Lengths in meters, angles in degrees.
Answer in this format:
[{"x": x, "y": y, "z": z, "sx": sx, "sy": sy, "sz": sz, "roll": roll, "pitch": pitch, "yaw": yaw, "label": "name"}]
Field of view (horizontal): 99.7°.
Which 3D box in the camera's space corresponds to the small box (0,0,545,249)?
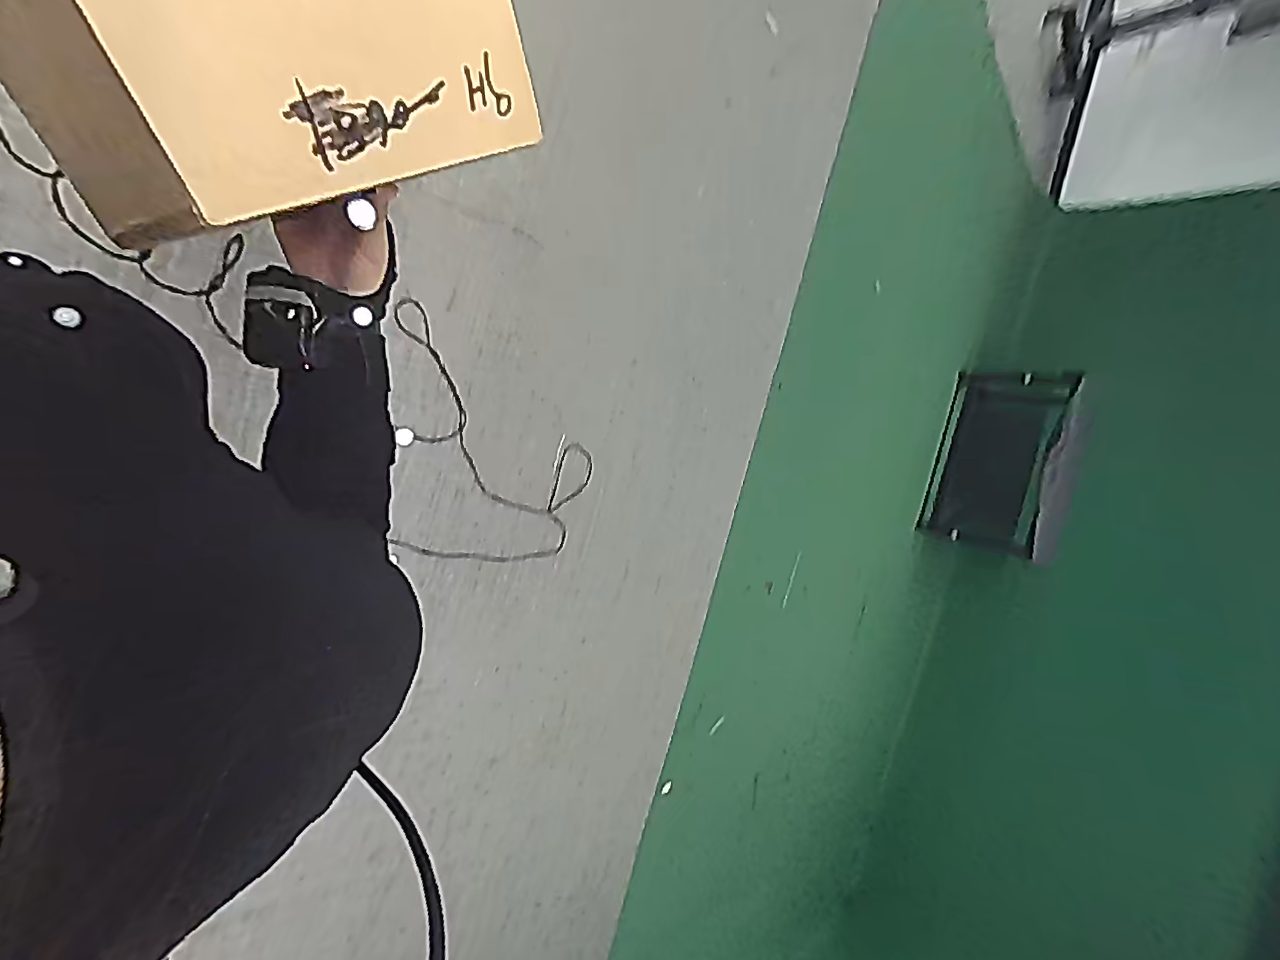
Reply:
[{"x": -0.179, "y": -0.221, "z": 0.247, "sx": 0.168, "sy": 0.176, "sz": 0.179, "roll": -42, "pitch": 132, "yaw": -35, "label": "small box"}]
